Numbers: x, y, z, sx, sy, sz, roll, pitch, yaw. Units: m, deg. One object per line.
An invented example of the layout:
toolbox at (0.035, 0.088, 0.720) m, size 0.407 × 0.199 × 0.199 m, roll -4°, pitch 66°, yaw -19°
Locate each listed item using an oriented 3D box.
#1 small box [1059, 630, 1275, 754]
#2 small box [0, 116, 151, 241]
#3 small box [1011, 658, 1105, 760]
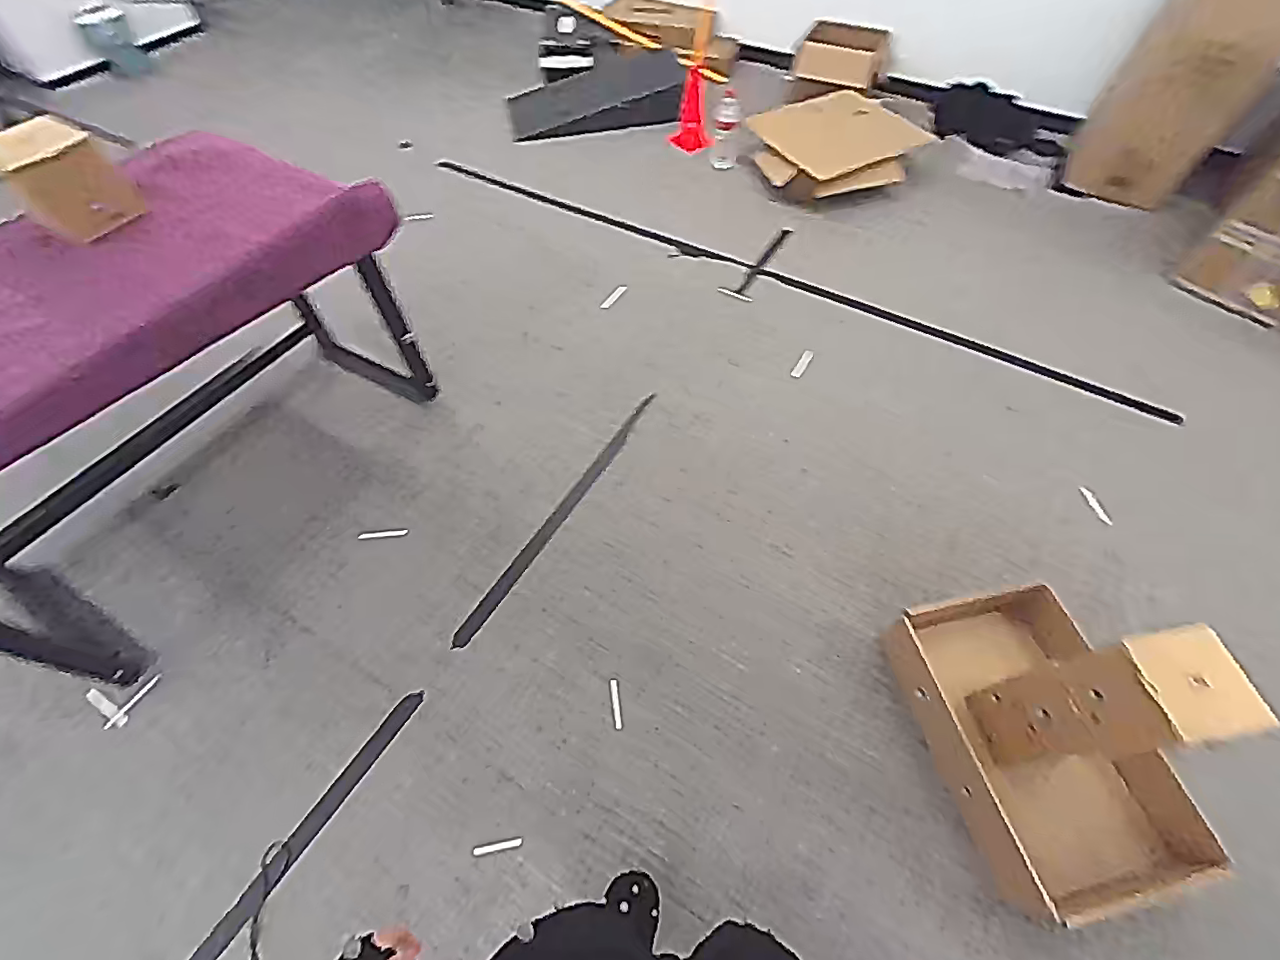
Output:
small box at (0.914, 0.379, 0.960) m, size 0.179 × 0.176 × 0.168 m, roll -7°, pitch 58°, yaw -6°
small box at (-1.263, -0.663, 1.198) m, size 0.179 × 0.176 × 0.168 m, roll 28°, pitch 62°, yaw 16°
small box at (0.902, 0.462, 1.100) m, size 0.179 × 0.176 × 0.168 m, roll -7°, pitch 58°, yaw -5°
